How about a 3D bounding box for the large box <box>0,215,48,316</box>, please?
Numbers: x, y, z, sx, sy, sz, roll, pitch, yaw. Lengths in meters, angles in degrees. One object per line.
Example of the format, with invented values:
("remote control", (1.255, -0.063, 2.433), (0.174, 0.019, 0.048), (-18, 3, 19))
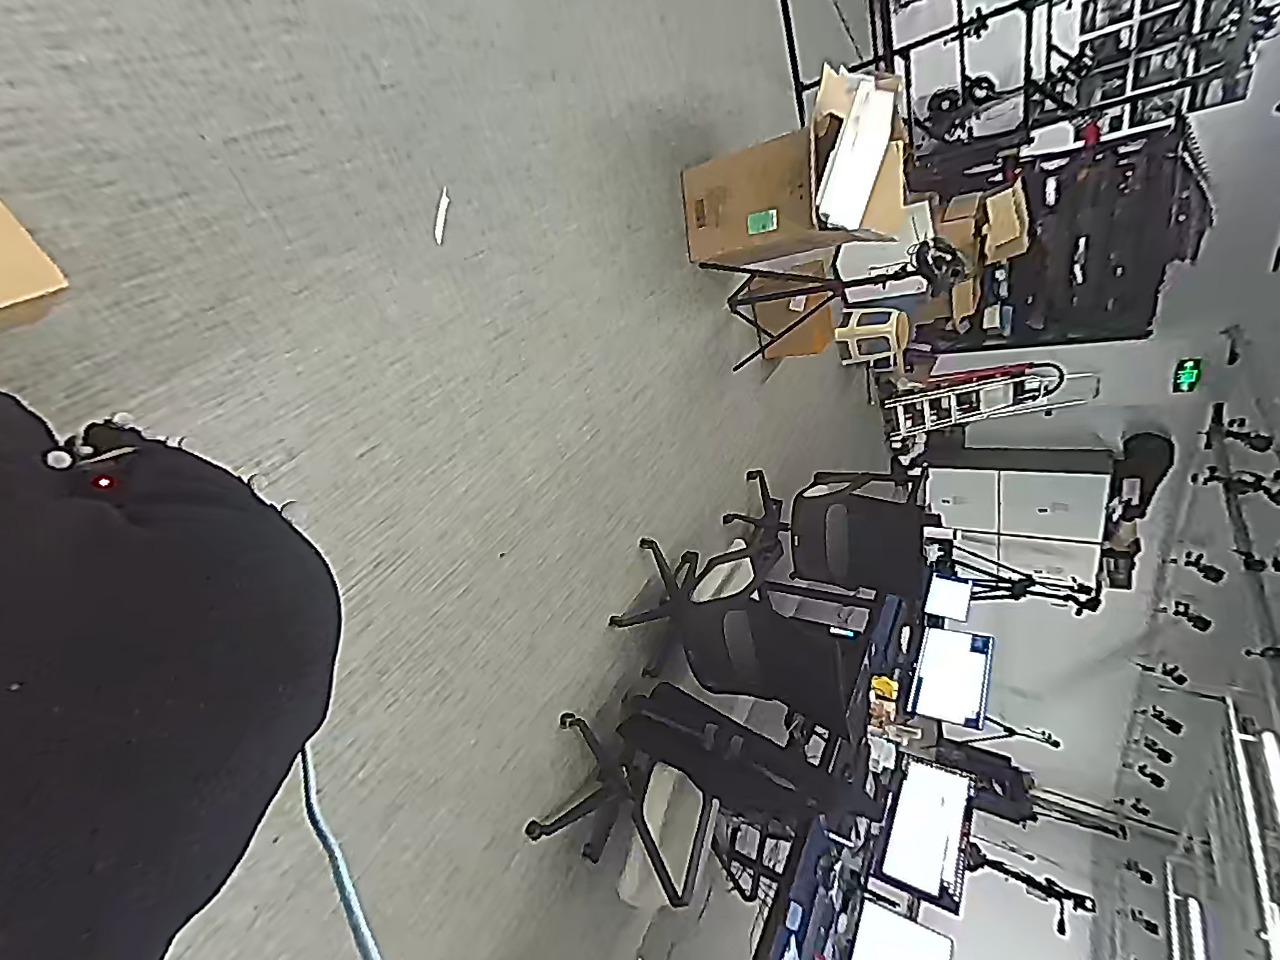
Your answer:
("large box", (-1.087, -0.293, 0.640), (0.408, 0.320, 0.320), (-50, 131, -40))
